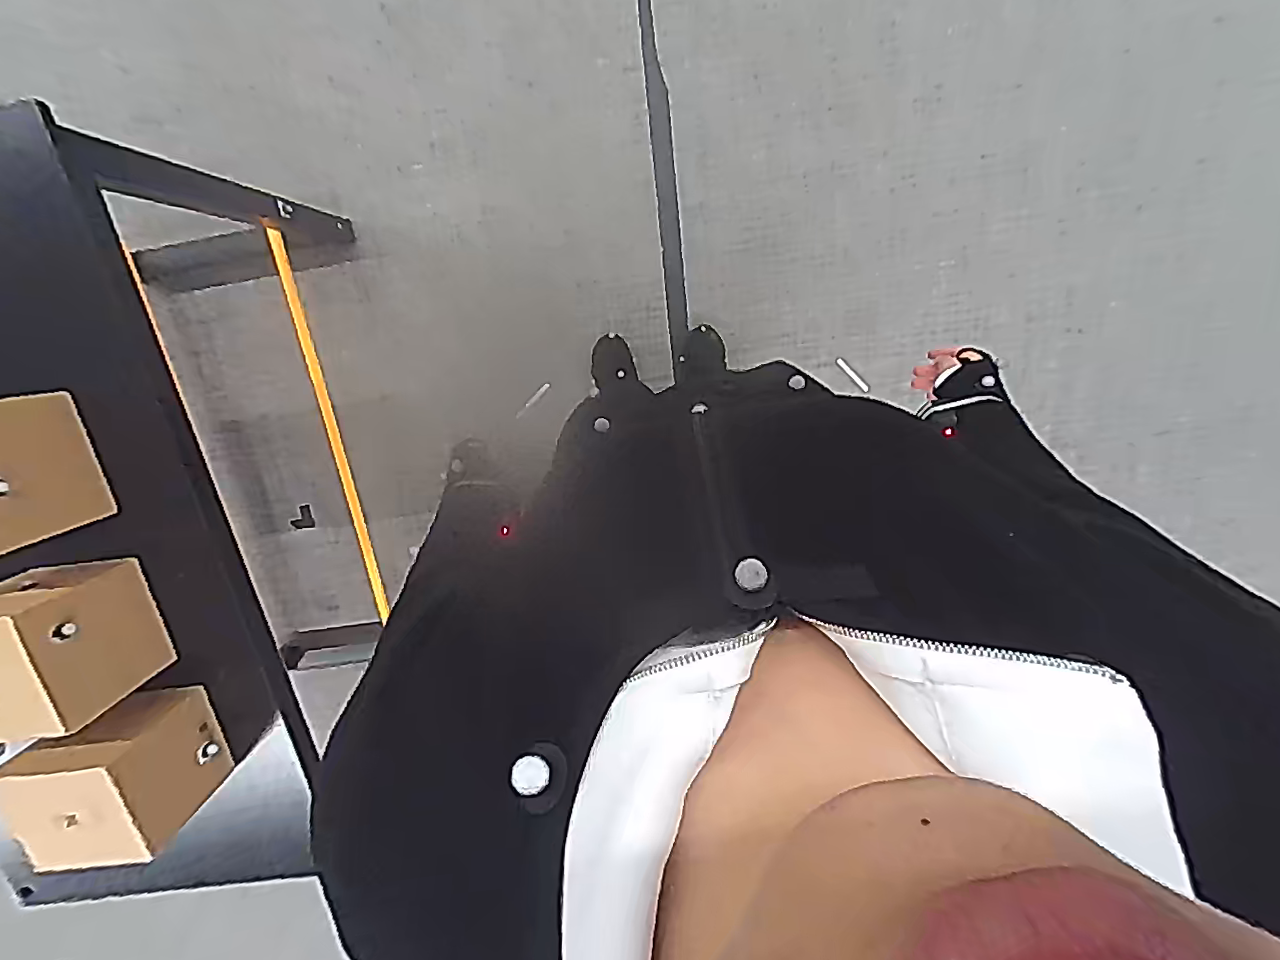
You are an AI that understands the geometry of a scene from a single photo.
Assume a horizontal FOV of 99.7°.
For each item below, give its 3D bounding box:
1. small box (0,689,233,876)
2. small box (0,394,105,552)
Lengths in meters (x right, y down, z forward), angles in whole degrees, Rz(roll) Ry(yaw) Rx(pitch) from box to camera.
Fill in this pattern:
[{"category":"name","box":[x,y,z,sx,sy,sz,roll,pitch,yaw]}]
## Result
[{"category":"small box","box":[-0.764,0.436,0.797,0.179,0.176,0.168,-8,107,2]},{"category":"small box","box":[-0.835,-0.001,0.668,0.168,0.176,0.179,-7,106,3]}]
